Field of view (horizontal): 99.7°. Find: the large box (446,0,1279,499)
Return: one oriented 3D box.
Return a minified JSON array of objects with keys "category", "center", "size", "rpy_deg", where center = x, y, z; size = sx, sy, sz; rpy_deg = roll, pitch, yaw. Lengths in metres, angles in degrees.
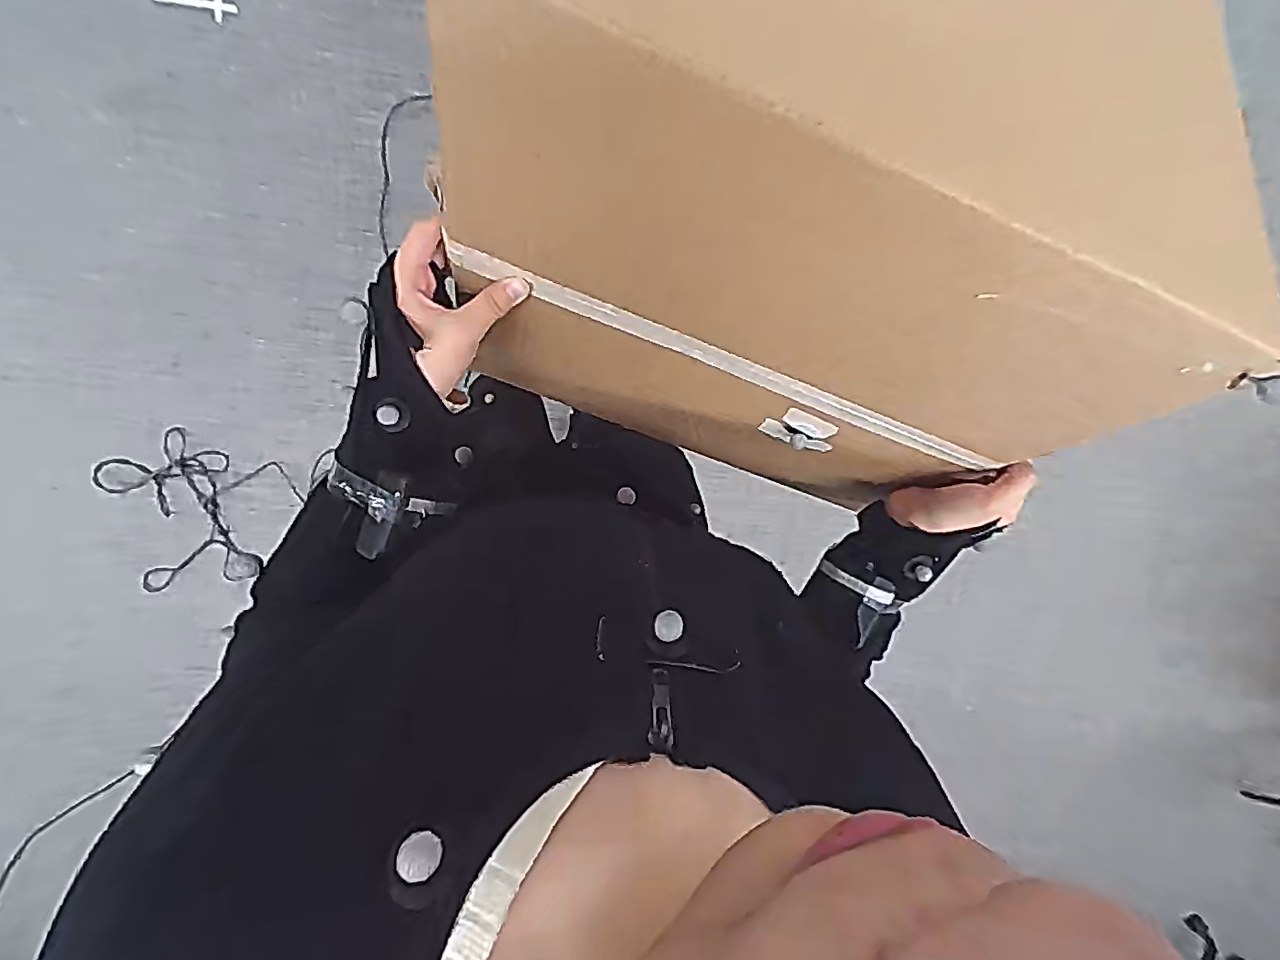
[{"category":"large box","center":[0.120,-0.222,0.387],"size":[0.408,0.320,0.320],"rpy_deg":[18,70,-9]}]
